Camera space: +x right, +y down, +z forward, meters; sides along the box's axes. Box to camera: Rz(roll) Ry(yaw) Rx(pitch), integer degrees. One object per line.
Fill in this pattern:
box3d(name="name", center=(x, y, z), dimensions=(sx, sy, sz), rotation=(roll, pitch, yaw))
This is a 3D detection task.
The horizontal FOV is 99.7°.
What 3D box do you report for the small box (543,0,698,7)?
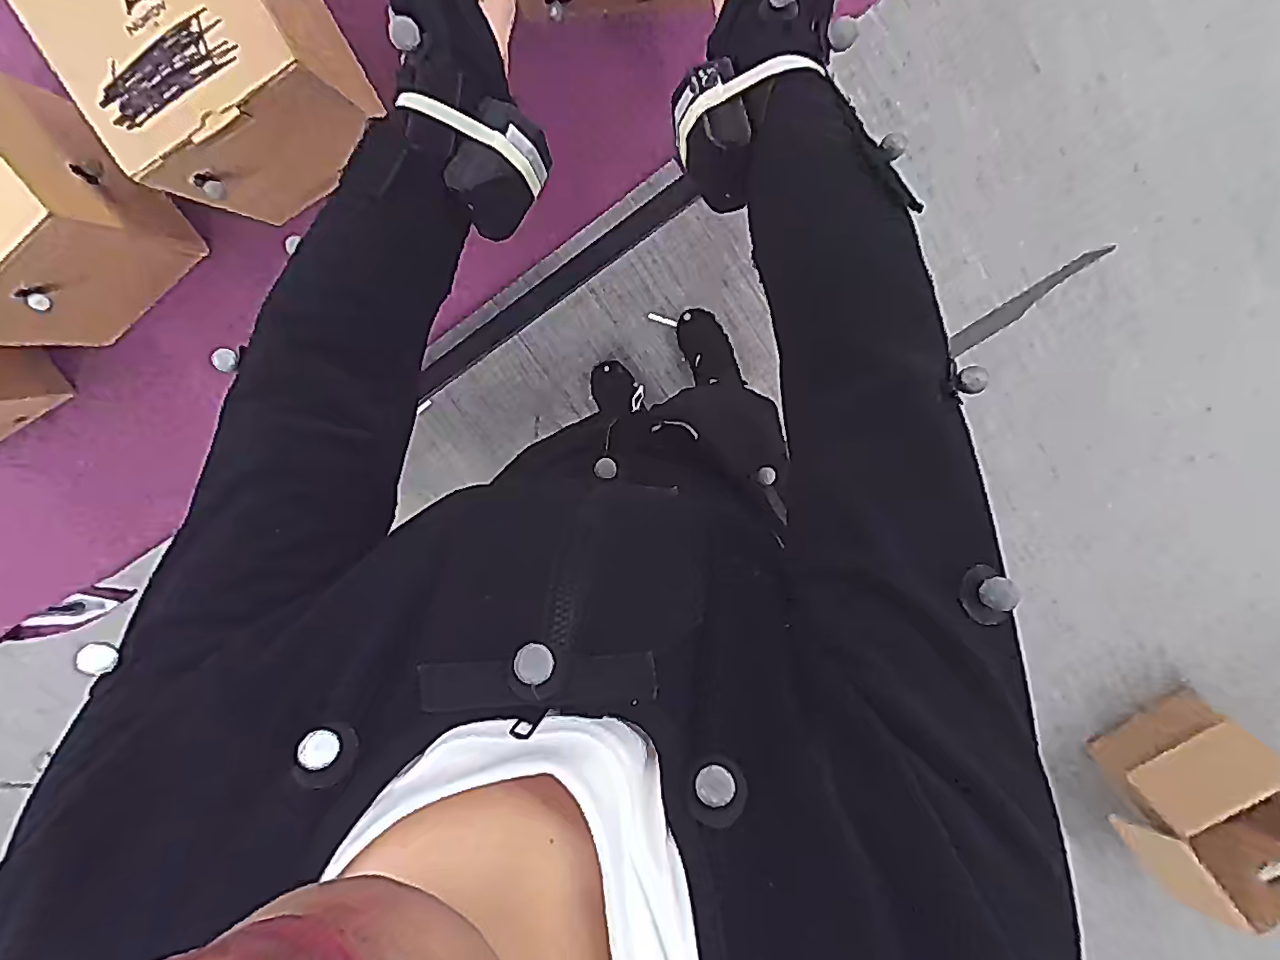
box3d(name="small box", center=(-0.022, -0.460, 0.363), dimensions=(0.168, 0.176, 0.179), rotation=(-3, 107, 2))
